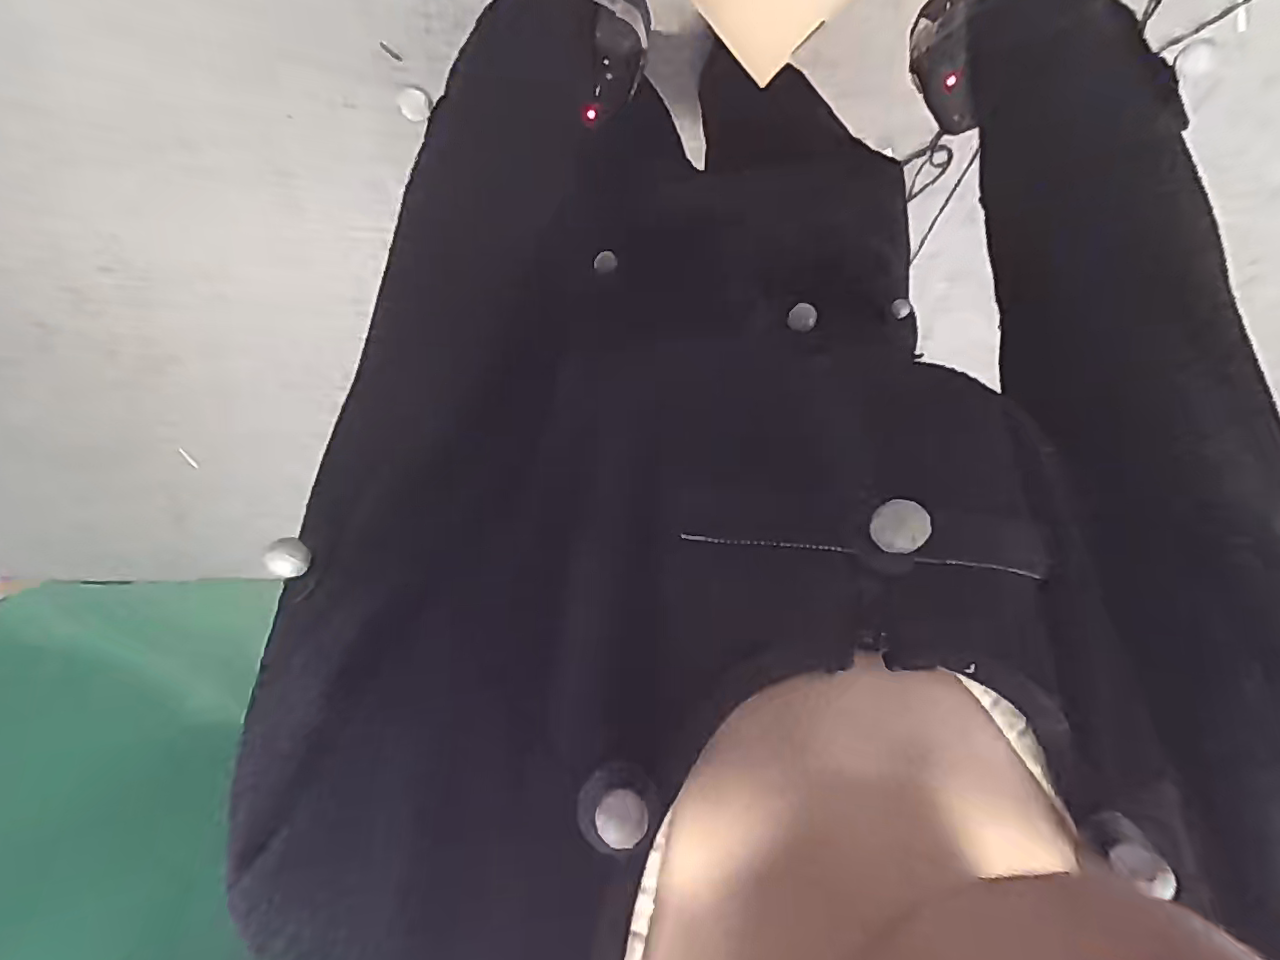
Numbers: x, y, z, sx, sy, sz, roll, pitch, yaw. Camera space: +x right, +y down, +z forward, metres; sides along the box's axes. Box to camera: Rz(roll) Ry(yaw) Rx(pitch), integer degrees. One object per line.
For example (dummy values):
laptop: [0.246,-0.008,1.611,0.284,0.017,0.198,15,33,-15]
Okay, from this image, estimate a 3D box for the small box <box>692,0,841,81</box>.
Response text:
small box: [0.092,-0.454,0.386,0.179,0.176,0.168,29,139,-33]
